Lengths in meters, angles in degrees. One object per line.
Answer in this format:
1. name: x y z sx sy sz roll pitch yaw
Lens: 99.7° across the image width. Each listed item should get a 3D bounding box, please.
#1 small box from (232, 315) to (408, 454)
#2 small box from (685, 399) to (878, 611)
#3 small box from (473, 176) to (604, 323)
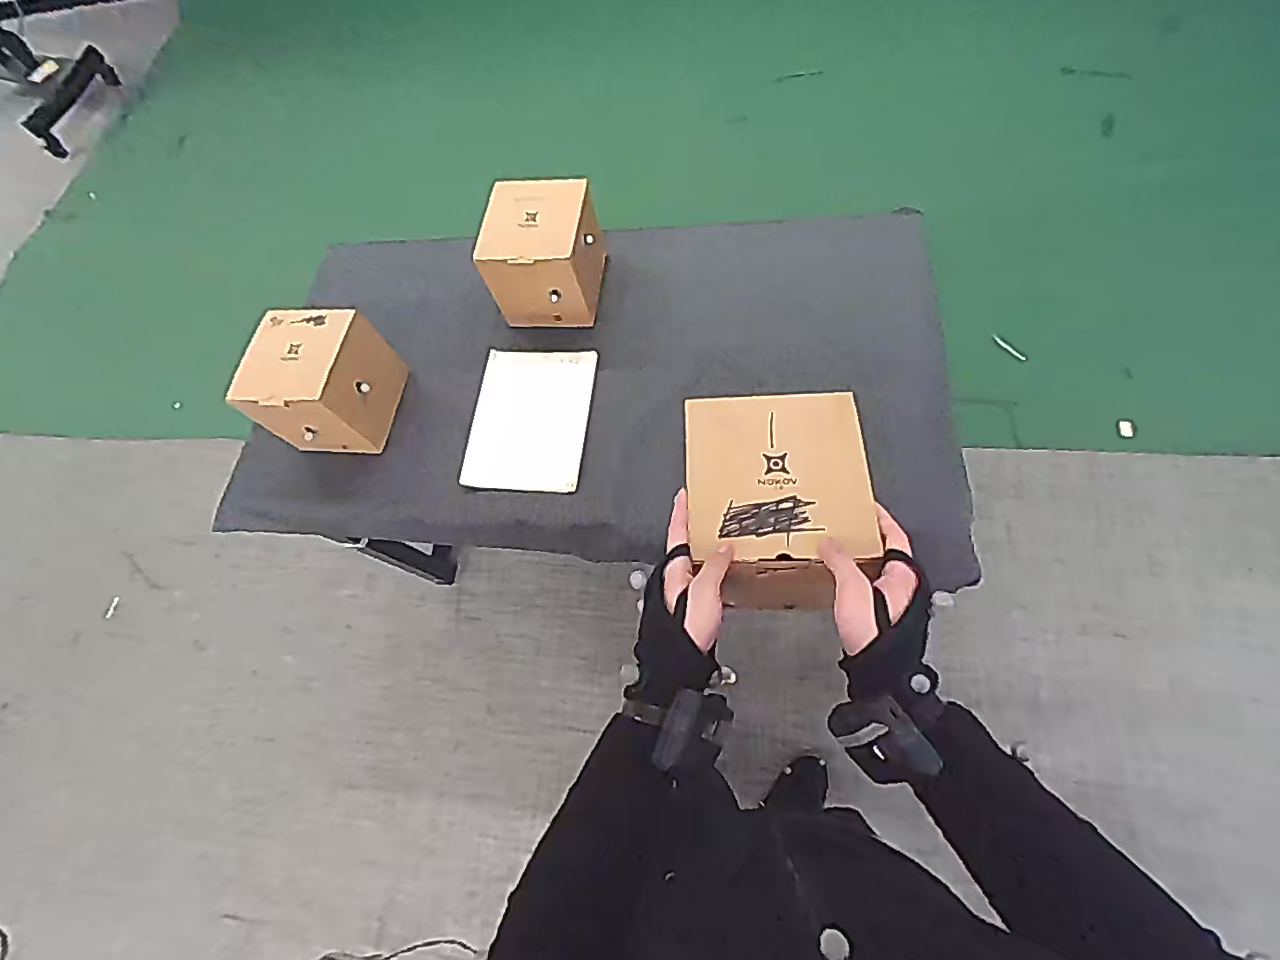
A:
1. small box: -0.523 -0.155 0.913 0.168 0.176 0.179 3 67 10
2. small box: 0.134 0.036 0.572 0.168 0.176 0.179 -1 61 6
3. small box: -0.165 -0.391 0.941 0.168 0.176 0.179 3 68 9
